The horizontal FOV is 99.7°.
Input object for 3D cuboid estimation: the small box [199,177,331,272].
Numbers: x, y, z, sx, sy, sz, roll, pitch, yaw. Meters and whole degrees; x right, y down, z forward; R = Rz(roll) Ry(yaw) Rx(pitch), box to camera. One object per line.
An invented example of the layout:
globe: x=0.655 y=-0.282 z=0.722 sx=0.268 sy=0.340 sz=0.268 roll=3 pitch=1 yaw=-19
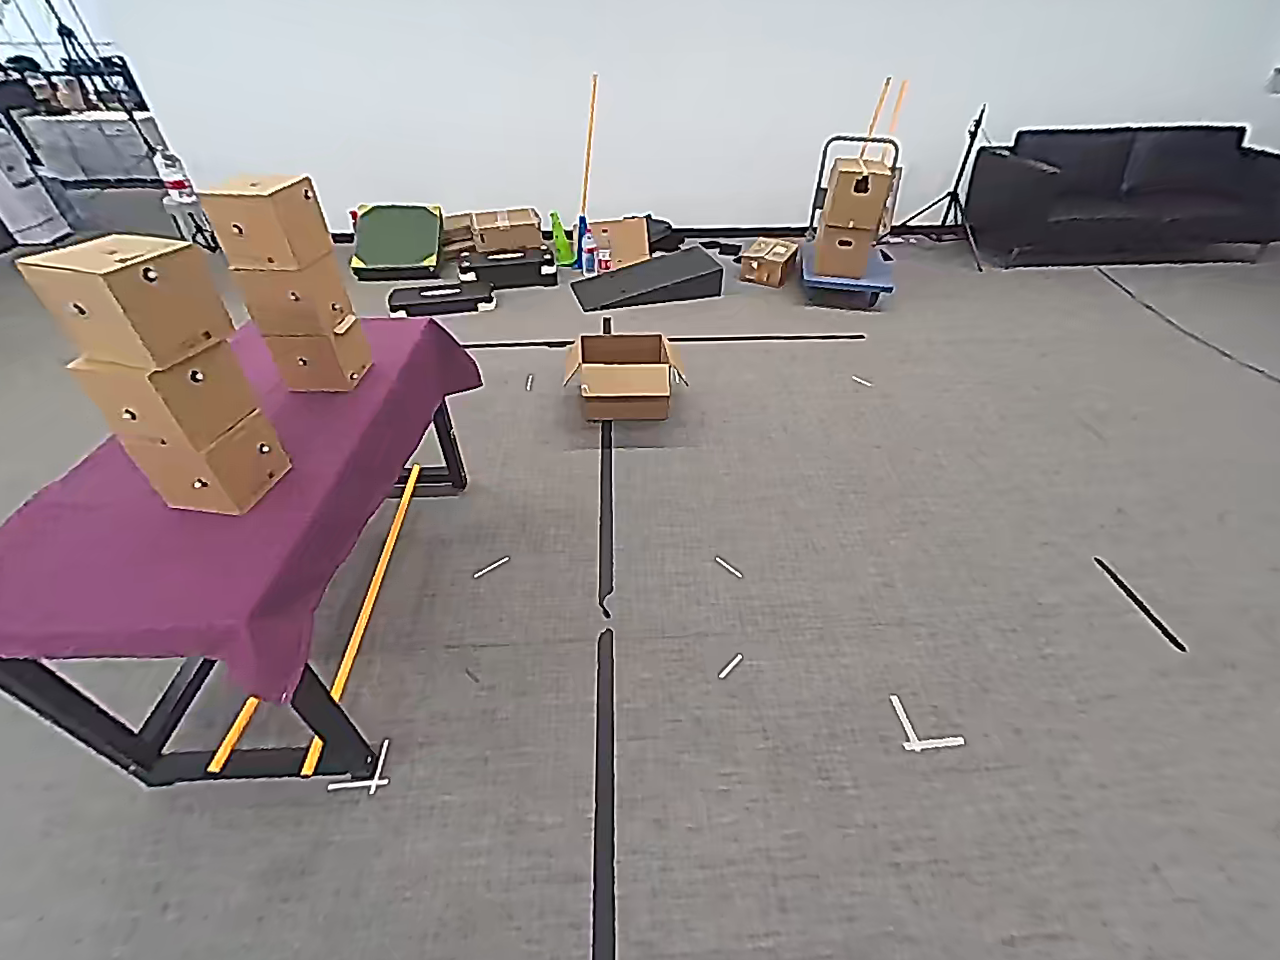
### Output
small box: x=-0.868 y=-0.603 z=1.277 sx=0.168 sy=0.176 sz=0.179 roll=3 pitch=41 yaw=2

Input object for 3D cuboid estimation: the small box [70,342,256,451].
small box: x=-0.892 y=-0.174 z=1.036 sx=0.168 sy=0.176 sz=0.179 roll=8 pitch=41 yaw=7

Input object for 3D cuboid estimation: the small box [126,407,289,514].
small box: x=-0.891 y=-0.047 z=1.139 sx=0.179 sy=0.176 sz=0.168 roll=6 pitch=41 yaw=7

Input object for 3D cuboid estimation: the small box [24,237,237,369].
small box: x=-0.869 y=-0.309 z=0.942 sx=0.179 sy=0.176 sz=0.168 roll=10 pitch=41 yaw=11

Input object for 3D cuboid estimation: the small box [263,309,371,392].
small box: x=-0.874 y=-0.354 z=1.487 sx=0.179 sy=0.176 sz=0.168 roll=0 pitch=41 yaw=1
